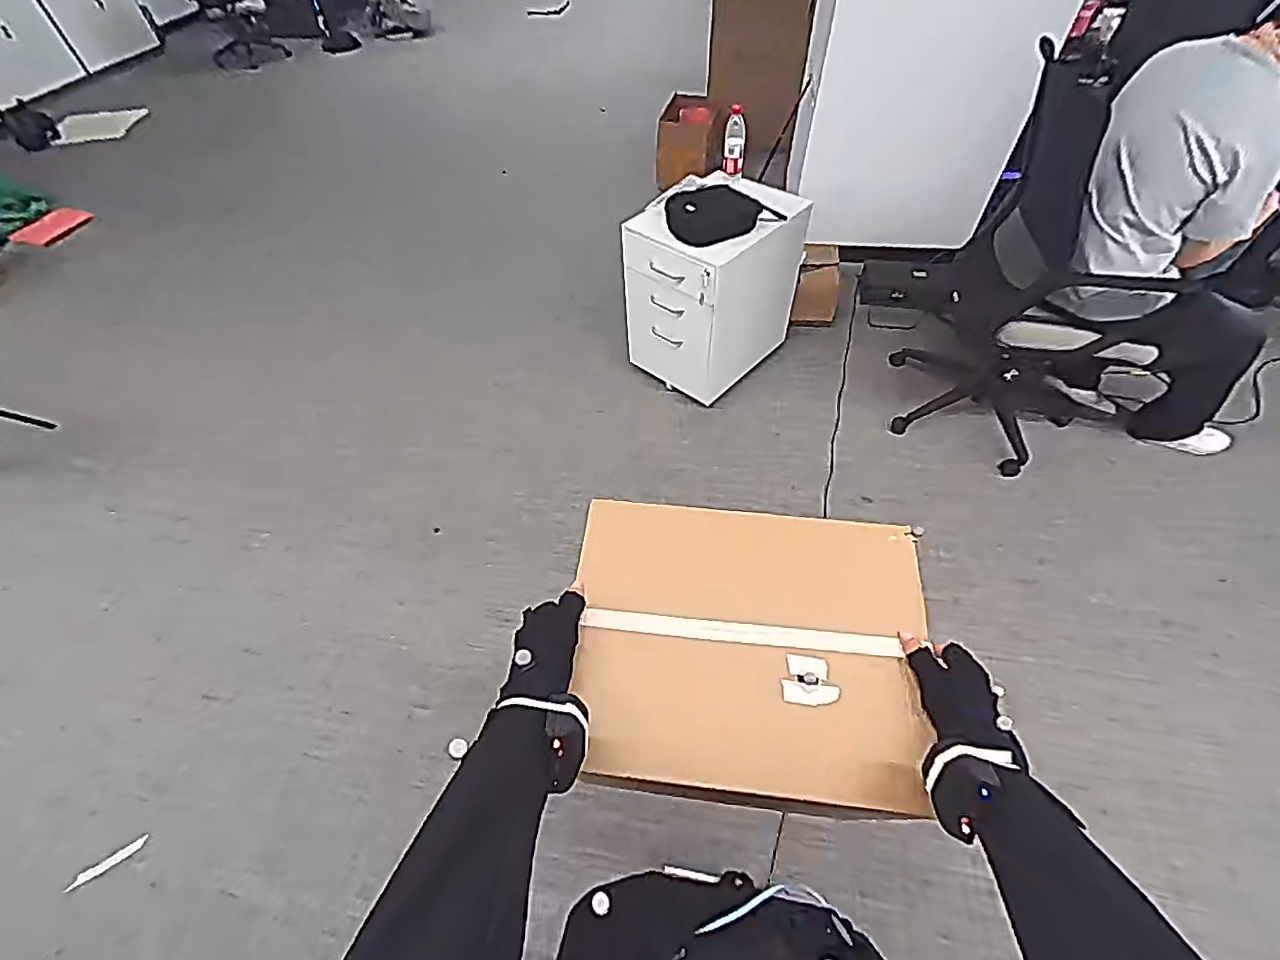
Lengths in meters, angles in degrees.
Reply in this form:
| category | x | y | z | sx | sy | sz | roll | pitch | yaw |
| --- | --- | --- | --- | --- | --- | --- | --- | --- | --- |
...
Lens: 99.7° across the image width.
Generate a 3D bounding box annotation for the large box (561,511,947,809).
| category | x | y | z | sx | sy | sz | roll | pitch | yaw |
| --- | --- | --- | --- | --- | --- | --- | --- | --- | --- |
| large box | 0.127 | 0.261 | 0.756 | 0.408 | 0.320 | 0.320 | 4 | 59 | 4 |
